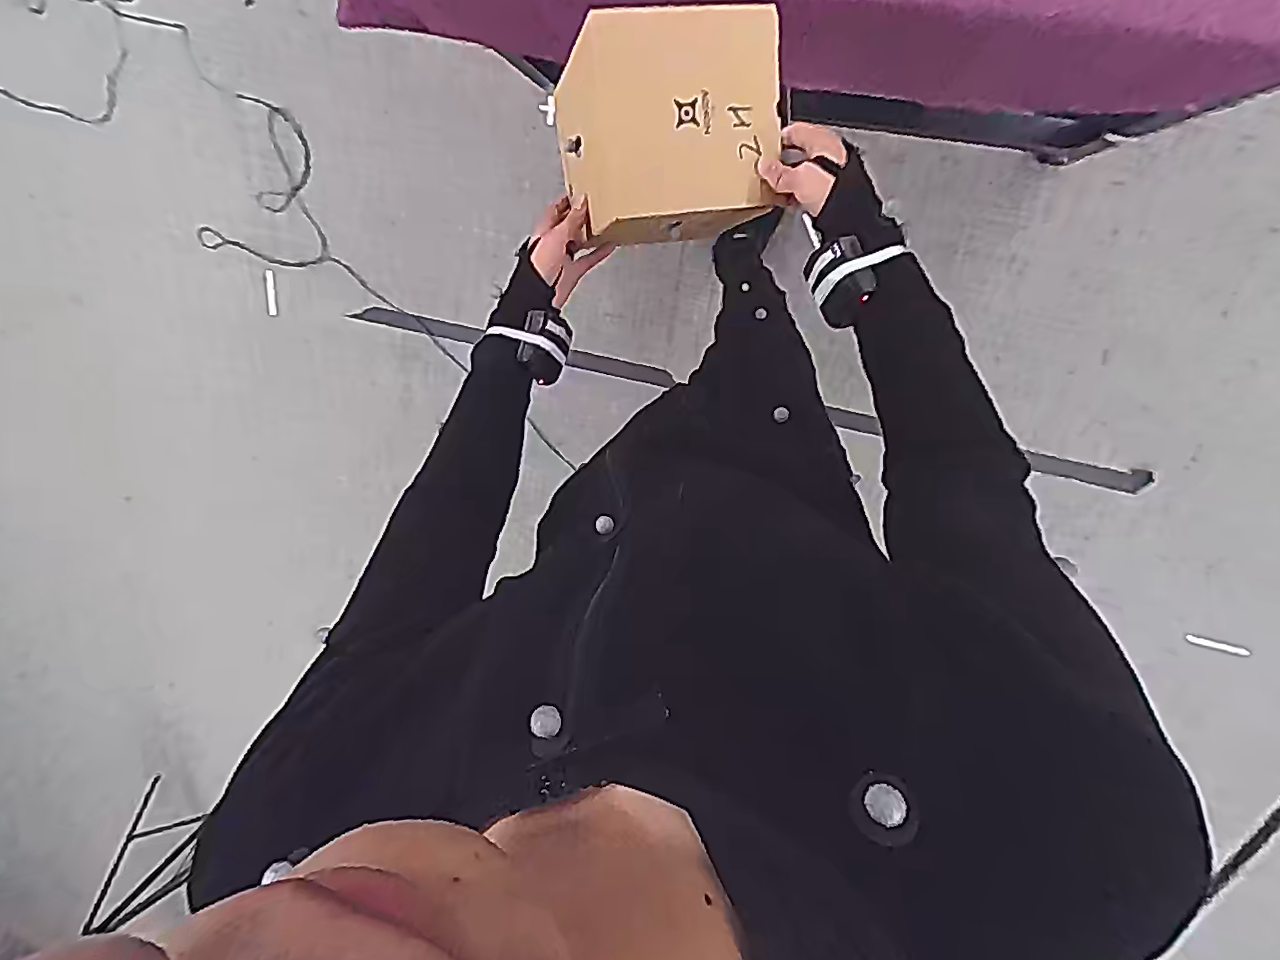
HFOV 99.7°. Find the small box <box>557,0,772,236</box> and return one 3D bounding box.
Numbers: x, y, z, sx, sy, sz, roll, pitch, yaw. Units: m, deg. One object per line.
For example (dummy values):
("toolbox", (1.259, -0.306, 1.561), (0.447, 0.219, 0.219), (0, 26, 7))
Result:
("small box", (0.017, -0.363, 0.570), (0.179, 0.176, 0.168), (-12, 108, -18))
